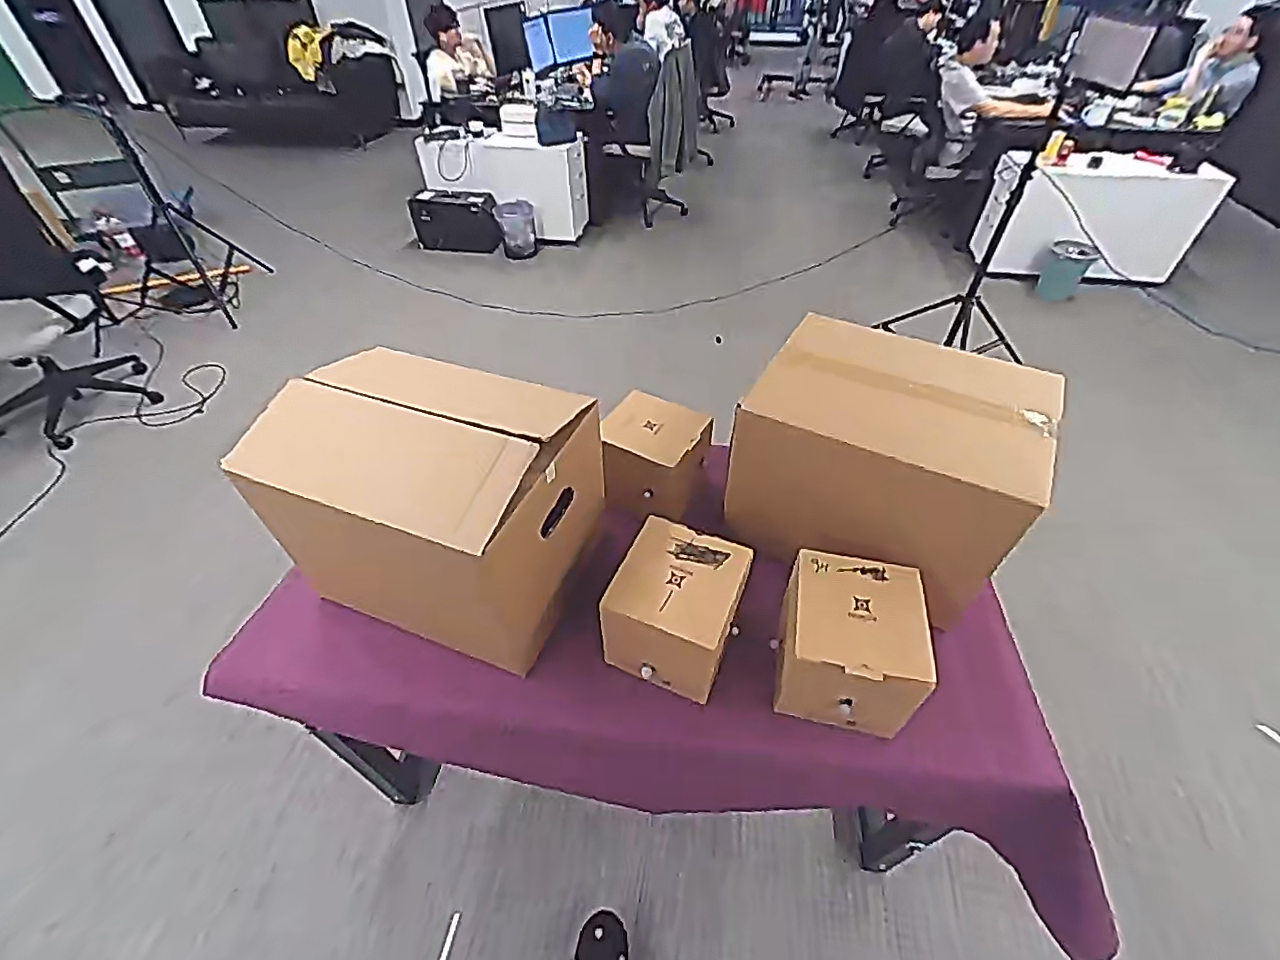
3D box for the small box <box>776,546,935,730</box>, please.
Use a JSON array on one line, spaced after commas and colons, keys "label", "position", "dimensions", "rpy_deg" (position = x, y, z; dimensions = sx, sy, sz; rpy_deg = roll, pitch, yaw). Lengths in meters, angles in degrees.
[{"label": "small box", "position": [0.290, 0.224, 0.760], "dimensions": [0.168, 0.176, 0.179], "rpy_deg": [10, 46, 10]}]
